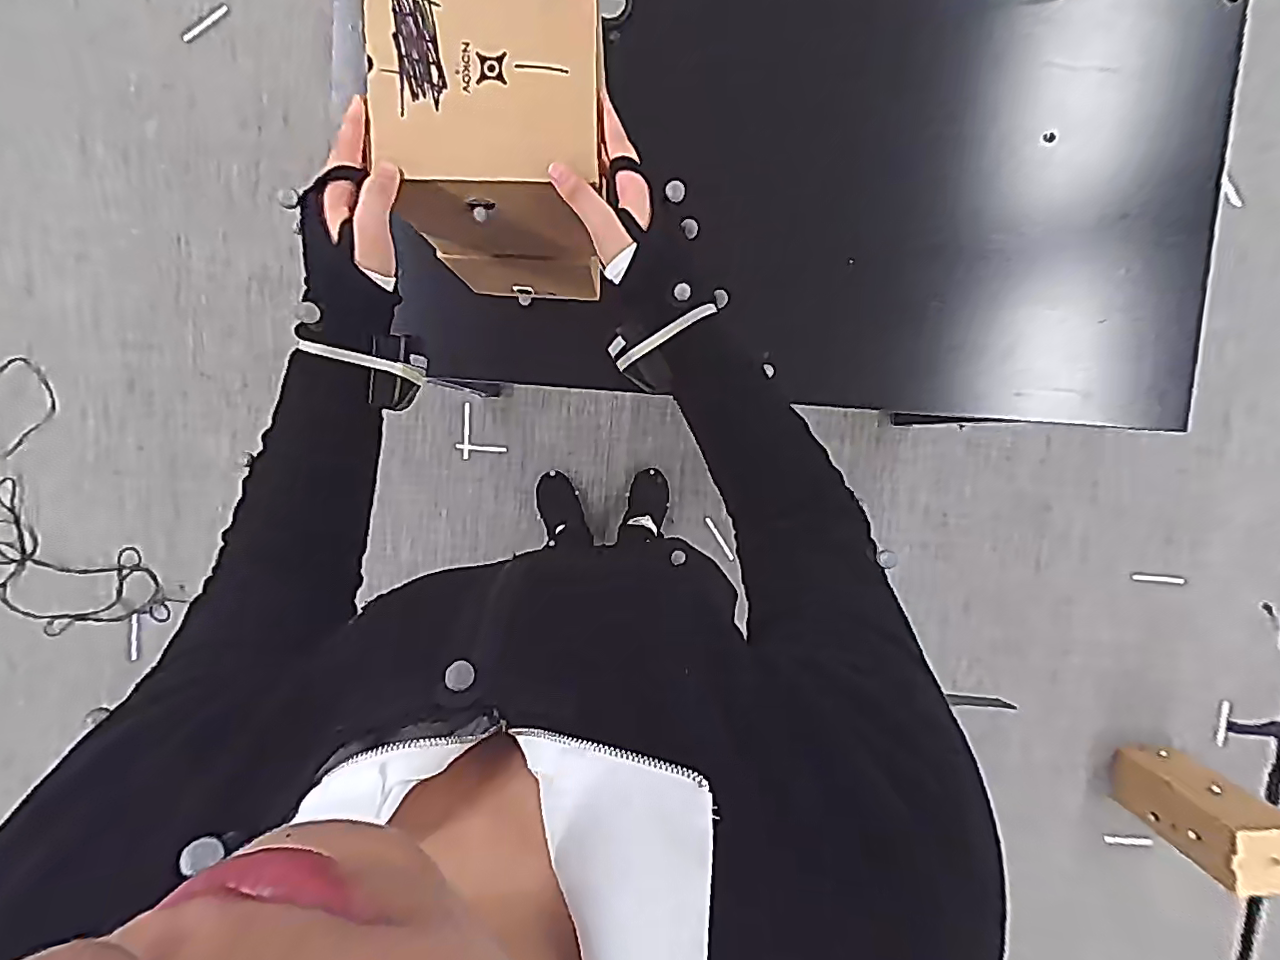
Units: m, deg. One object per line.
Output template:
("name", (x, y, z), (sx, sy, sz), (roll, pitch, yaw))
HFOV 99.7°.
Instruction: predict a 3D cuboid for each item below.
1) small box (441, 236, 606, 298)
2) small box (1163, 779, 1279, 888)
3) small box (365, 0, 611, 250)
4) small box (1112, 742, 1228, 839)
("small box", (-0.127, -0.330, 0.645), (0.168, 0.176, 0.179), (2, 96, -1))
("small box", (1.479, 0.883, 1.361), (0.179, 0.176, 0.168), (-3, 95, 0))
("small box", (-0.118, -0.316, 0.482), (0.179, 0.176, 0.168), (1, 95, -2))
("small box", (1.484, 0.870, 1.525), (0.168, 0.176, 0.179), (-2, 95, -1))
